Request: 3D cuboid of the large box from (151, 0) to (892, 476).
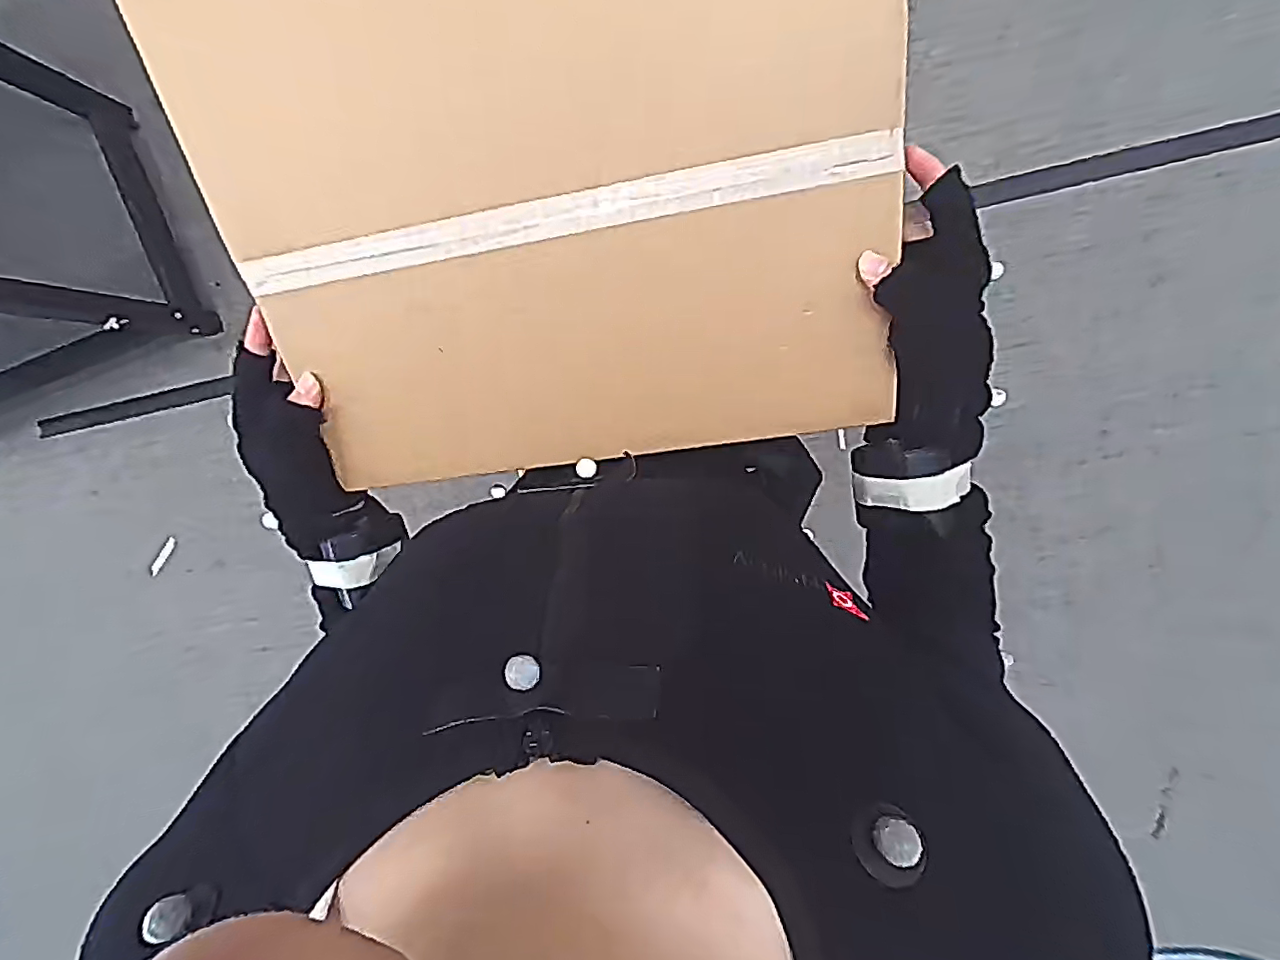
[{"bbox_3d":[-0.045,-0.227,0.466,0.408,0.320,0.320,-7,116,8],"label":"large box"}]
